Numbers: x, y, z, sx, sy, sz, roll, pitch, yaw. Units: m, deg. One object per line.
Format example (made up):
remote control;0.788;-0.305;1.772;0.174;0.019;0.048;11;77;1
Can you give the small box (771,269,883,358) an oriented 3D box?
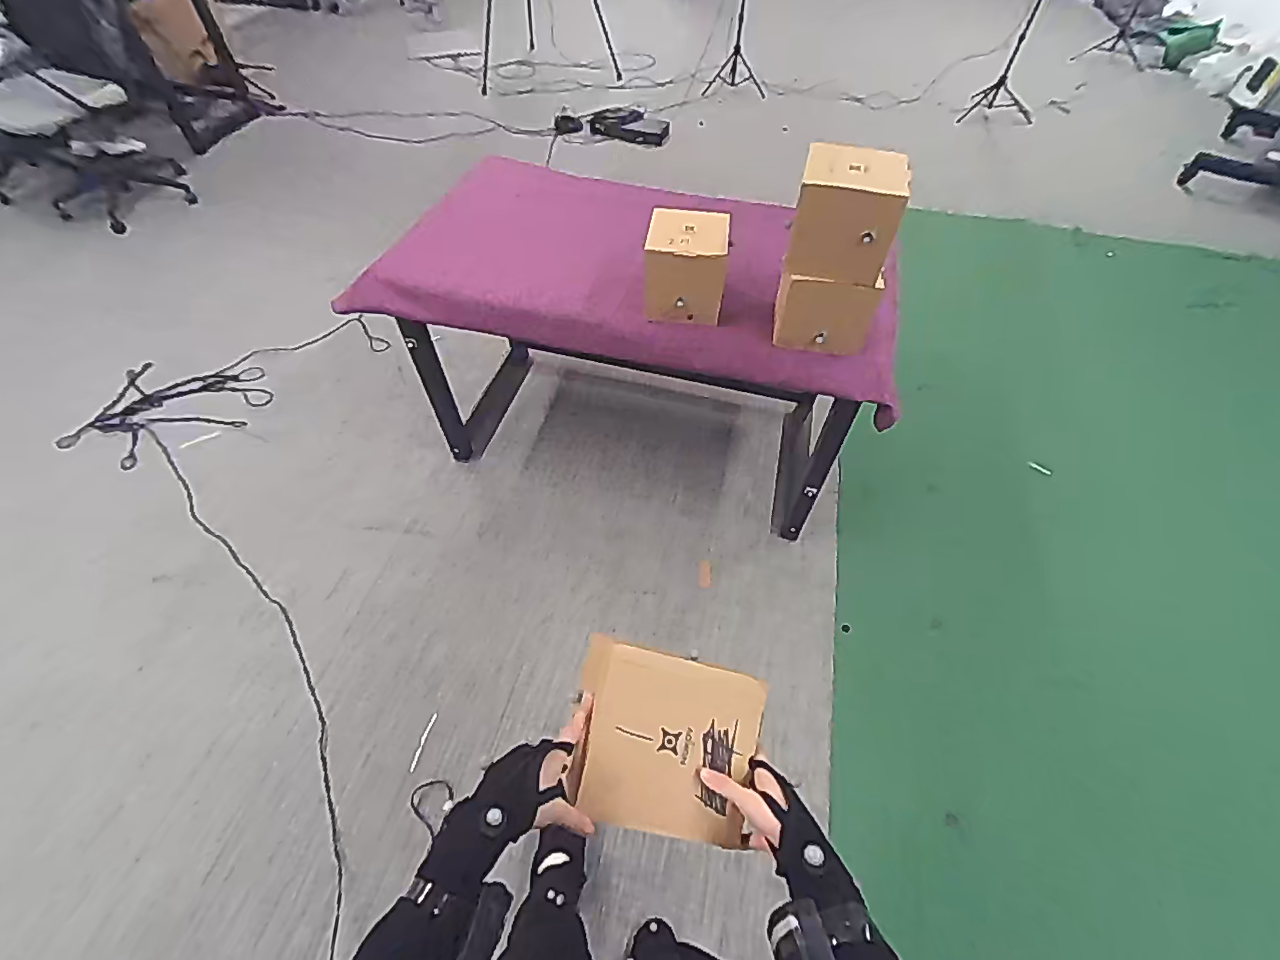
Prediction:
small box;0.380;-0.374;1.120;0.179;0.176;0.168;9;53;6

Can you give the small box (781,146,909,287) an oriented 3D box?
small box;0.373;-0.480;0.994;0.179;0.176;0.168;13;54;10

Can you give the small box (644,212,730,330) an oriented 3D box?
small box;0.100;-0.454;1.176;0.168;0.176;0.179;7;53;5

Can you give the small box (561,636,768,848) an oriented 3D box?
small box;0.018;0.282;0.621;0.179;0.176;0.168;18;74;-8
